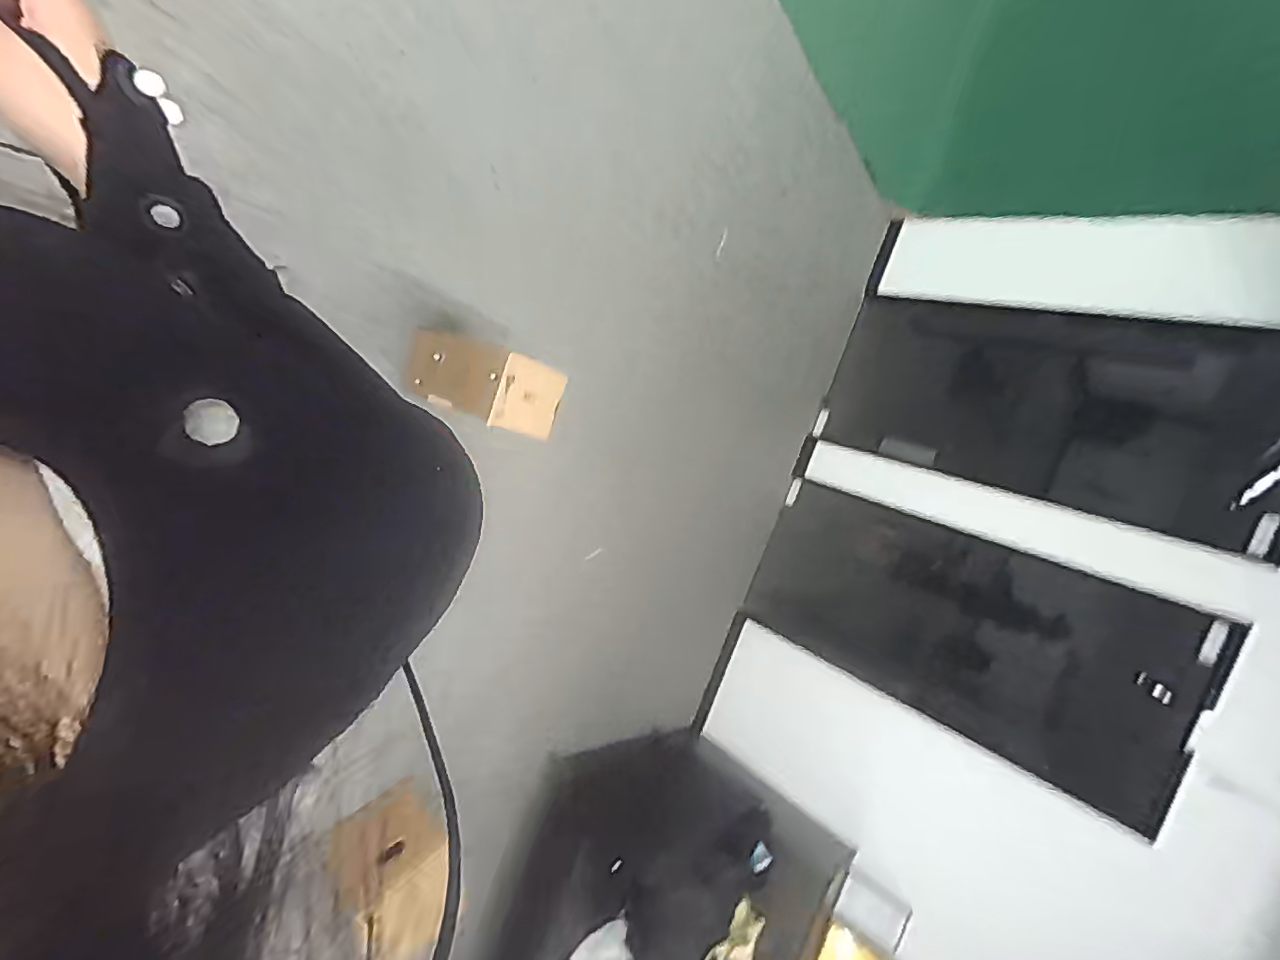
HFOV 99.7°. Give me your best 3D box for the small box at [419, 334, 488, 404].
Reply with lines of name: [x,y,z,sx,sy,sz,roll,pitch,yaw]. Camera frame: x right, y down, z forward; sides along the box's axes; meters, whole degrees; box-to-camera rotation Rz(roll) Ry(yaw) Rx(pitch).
small box: [-0.431,-0.265,1.389,0.179,0.176,0.168,15,96,-49]

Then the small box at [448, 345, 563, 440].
small box: [-0.319,-0.210,1.281,0.179,0.176,0.168,15,96,-51]
